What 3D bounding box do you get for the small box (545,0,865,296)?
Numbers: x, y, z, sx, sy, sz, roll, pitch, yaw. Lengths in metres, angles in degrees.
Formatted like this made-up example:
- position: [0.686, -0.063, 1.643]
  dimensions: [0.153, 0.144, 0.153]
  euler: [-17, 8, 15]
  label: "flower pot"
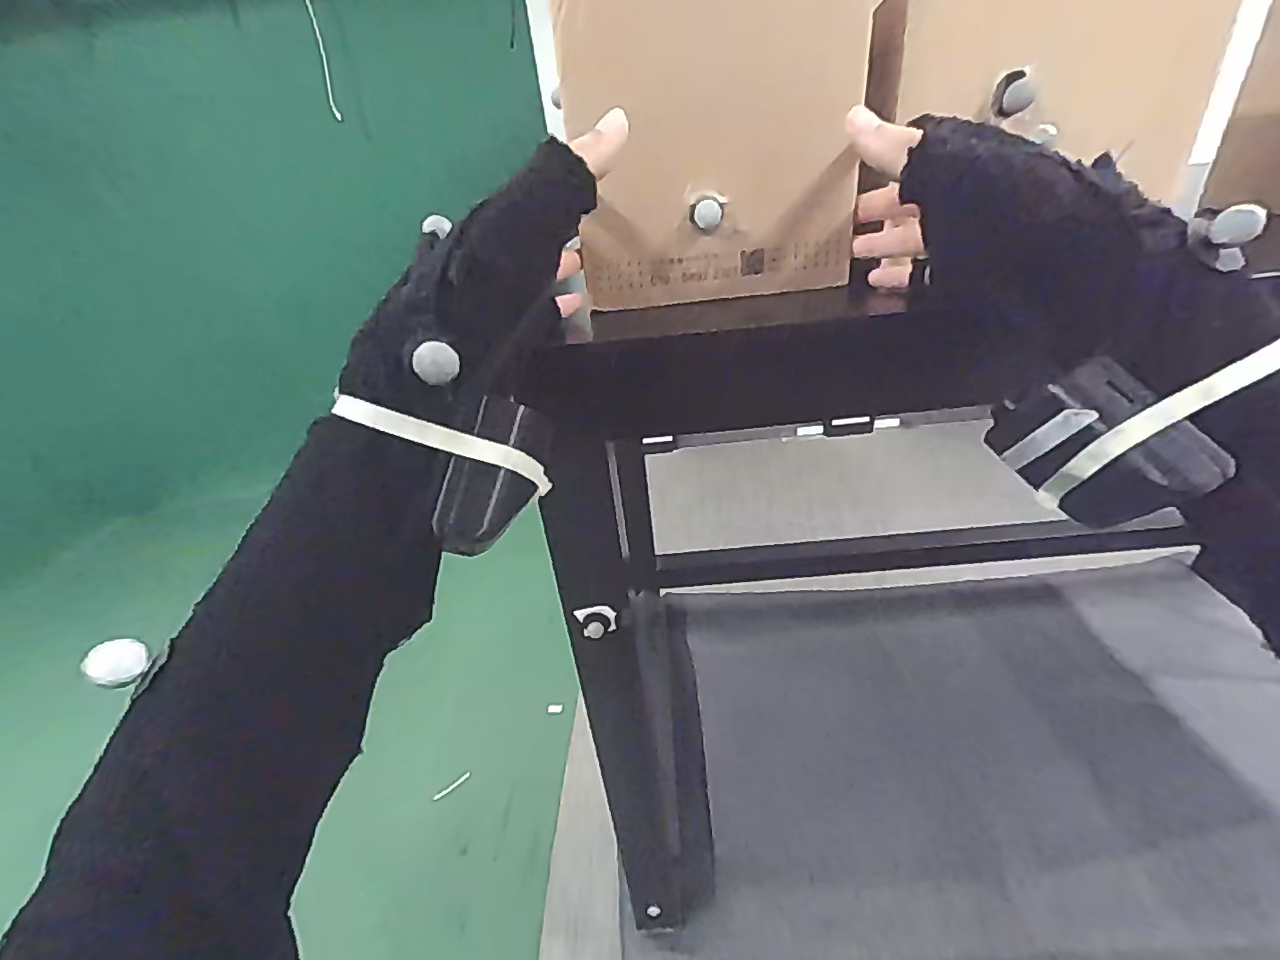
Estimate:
- position: [0.036, -0.232, 0.375]
  dimensions: [0.168, 0.176, 0.179]
  euler: [-6, 30, 2]
  label: "small box"
